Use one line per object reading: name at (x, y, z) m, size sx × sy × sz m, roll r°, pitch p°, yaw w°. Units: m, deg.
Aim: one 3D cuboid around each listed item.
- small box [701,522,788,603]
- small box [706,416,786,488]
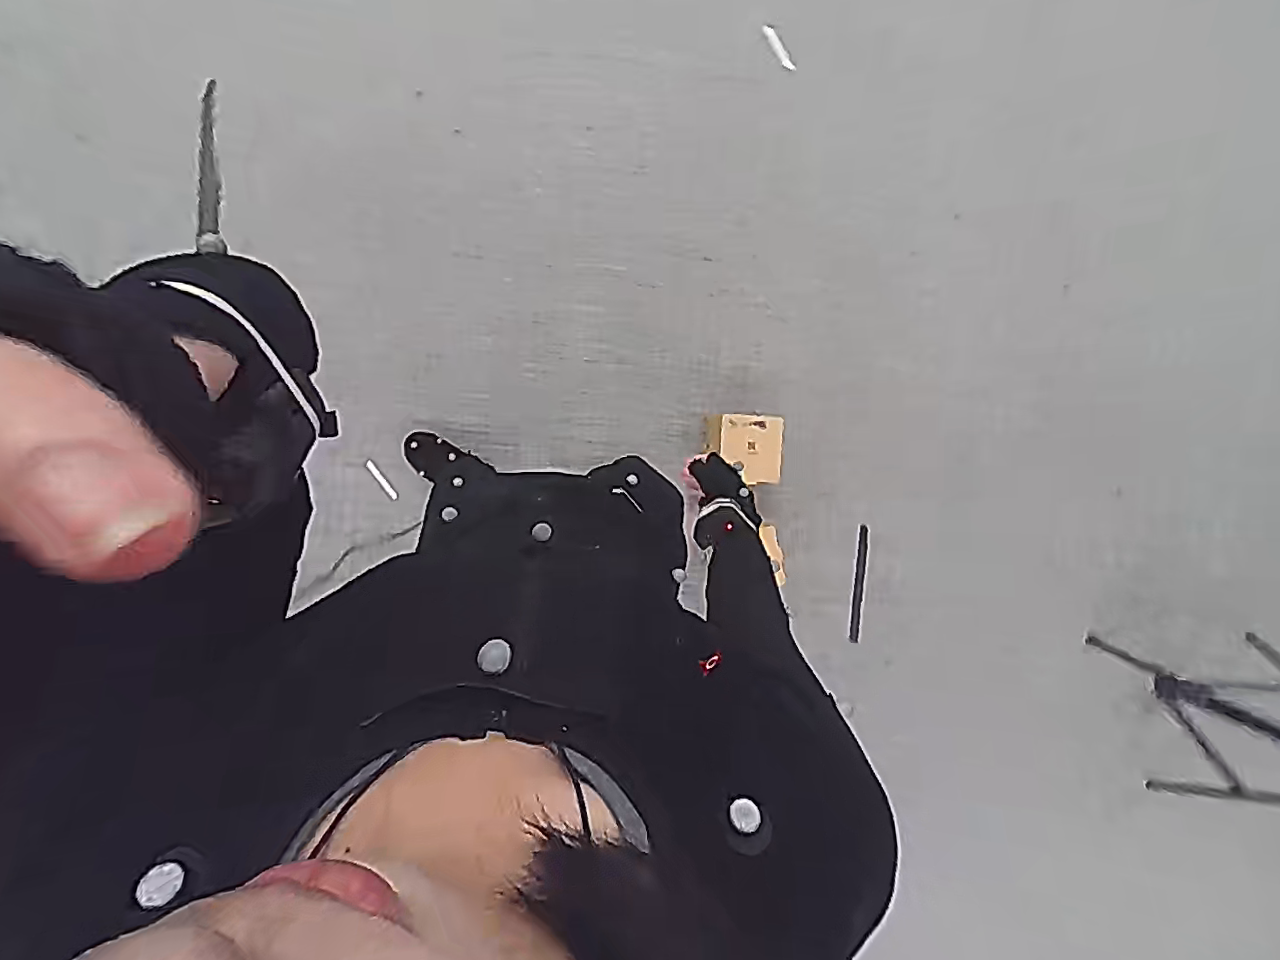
small box at (0.282, 0.219, 1.487) m, size 0.179 × 0.176 × 0.168 m, roll -14°, pitch 95°, yaw -5°
small box at (0.279, -0.077, 1.464) m, size 0.168 × 0.176 × 0.179 m, roll 4°, pitch 94°, yaw -7°
